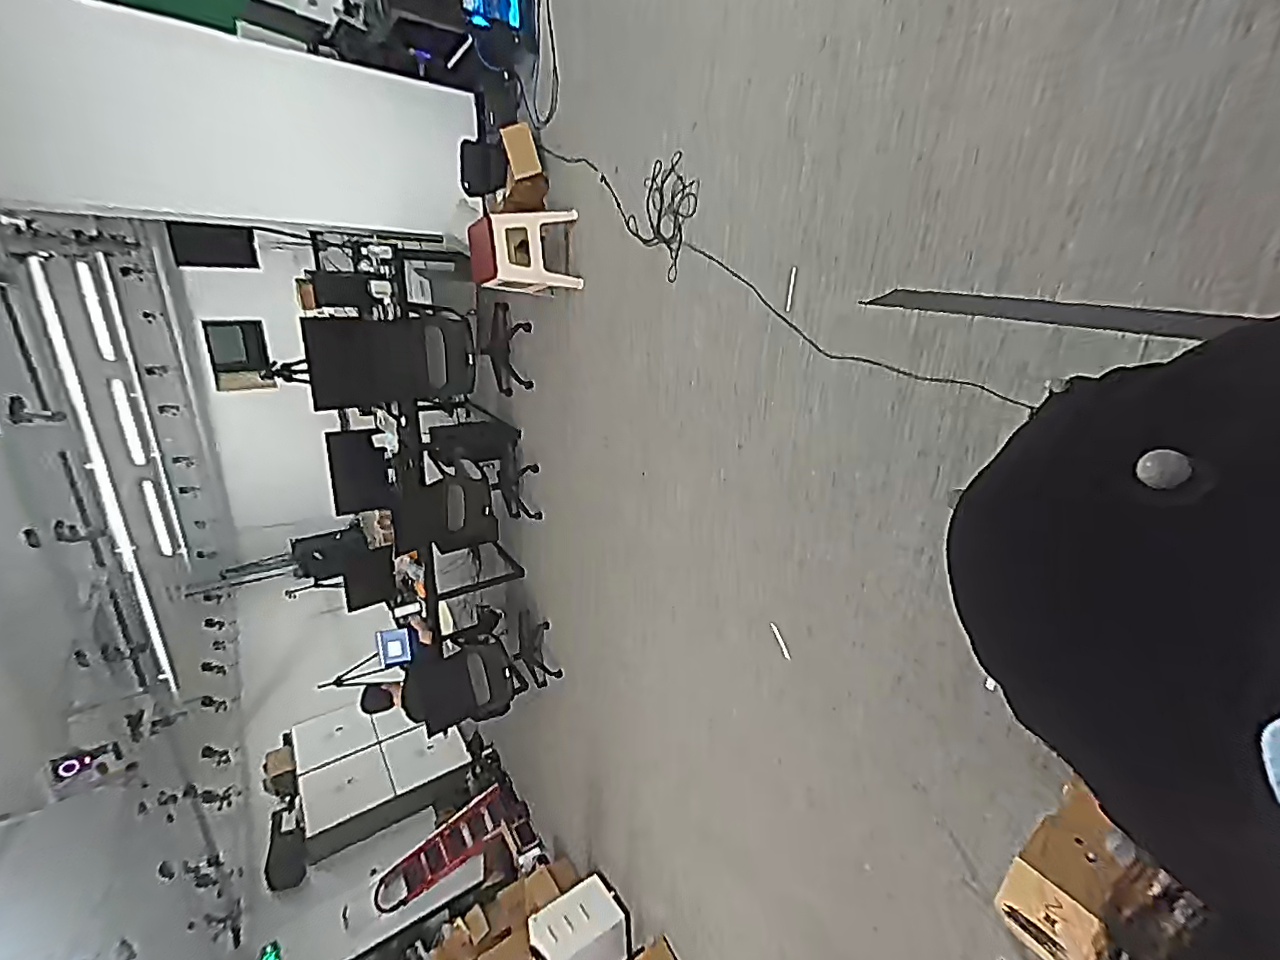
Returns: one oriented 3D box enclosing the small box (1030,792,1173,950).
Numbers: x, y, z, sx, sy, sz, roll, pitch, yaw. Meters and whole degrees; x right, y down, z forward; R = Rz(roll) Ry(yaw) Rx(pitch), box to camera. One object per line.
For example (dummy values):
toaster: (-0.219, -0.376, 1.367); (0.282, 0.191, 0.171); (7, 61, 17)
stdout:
small box: (0.974, 0.815, 1.143); (0.168, 0.176, 0.179); (30, 123, 48)

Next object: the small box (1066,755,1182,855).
small box: (1.102, 0.778, 1.237); (0.168, 0.176, 0.179); (12, 110, 53)
